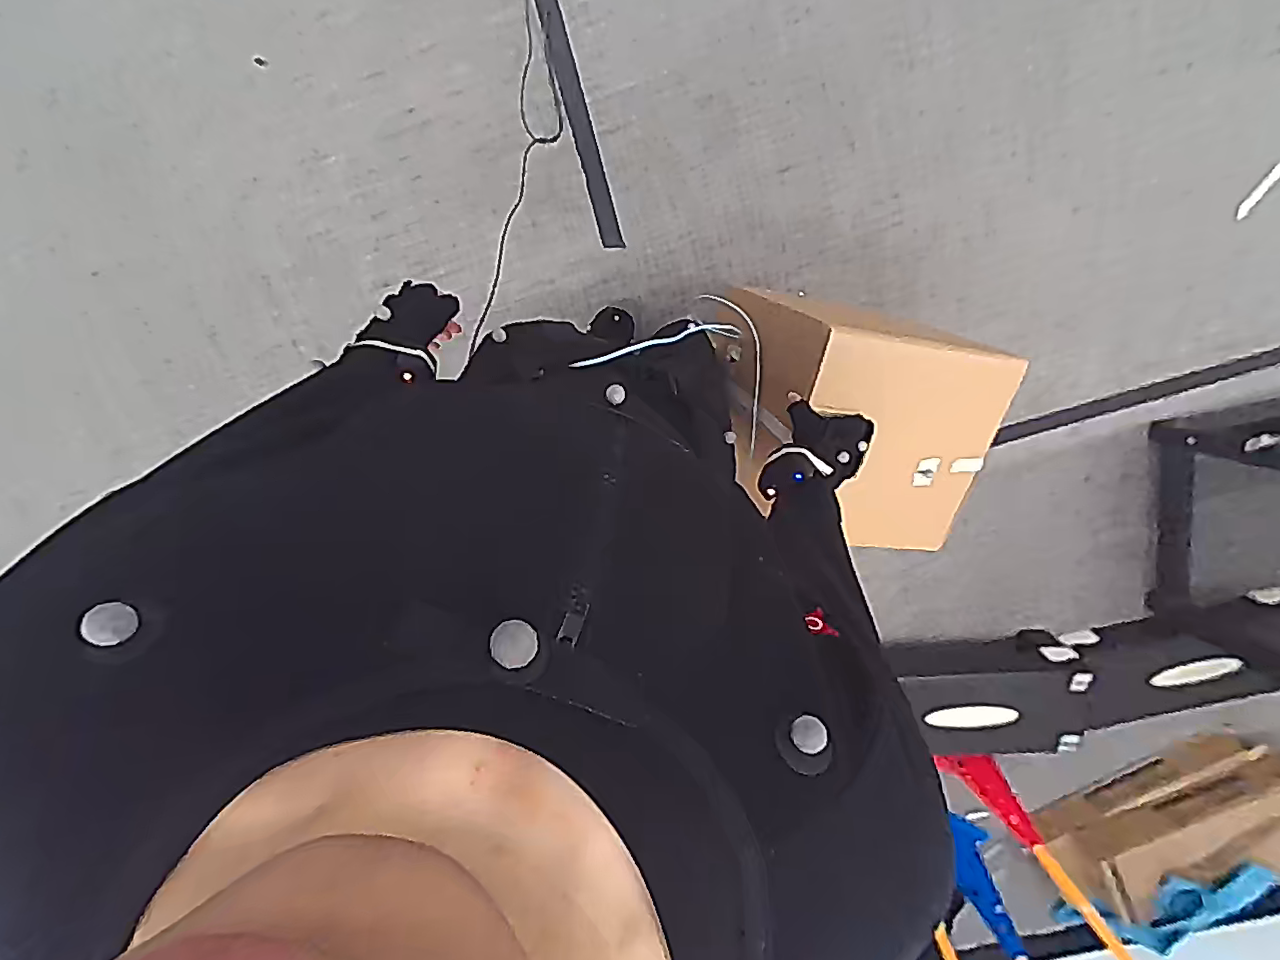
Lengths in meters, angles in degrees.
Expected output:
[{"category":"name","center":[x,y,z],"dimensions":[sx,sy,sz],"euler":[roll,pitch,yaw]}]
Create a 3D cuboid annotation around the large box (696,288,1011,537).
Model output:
[{"category":"large box","center":[0.321,-0.134,0.947],"dimensions":[0.320,0.408,0.320],"euler":[5,116,-13]}]
